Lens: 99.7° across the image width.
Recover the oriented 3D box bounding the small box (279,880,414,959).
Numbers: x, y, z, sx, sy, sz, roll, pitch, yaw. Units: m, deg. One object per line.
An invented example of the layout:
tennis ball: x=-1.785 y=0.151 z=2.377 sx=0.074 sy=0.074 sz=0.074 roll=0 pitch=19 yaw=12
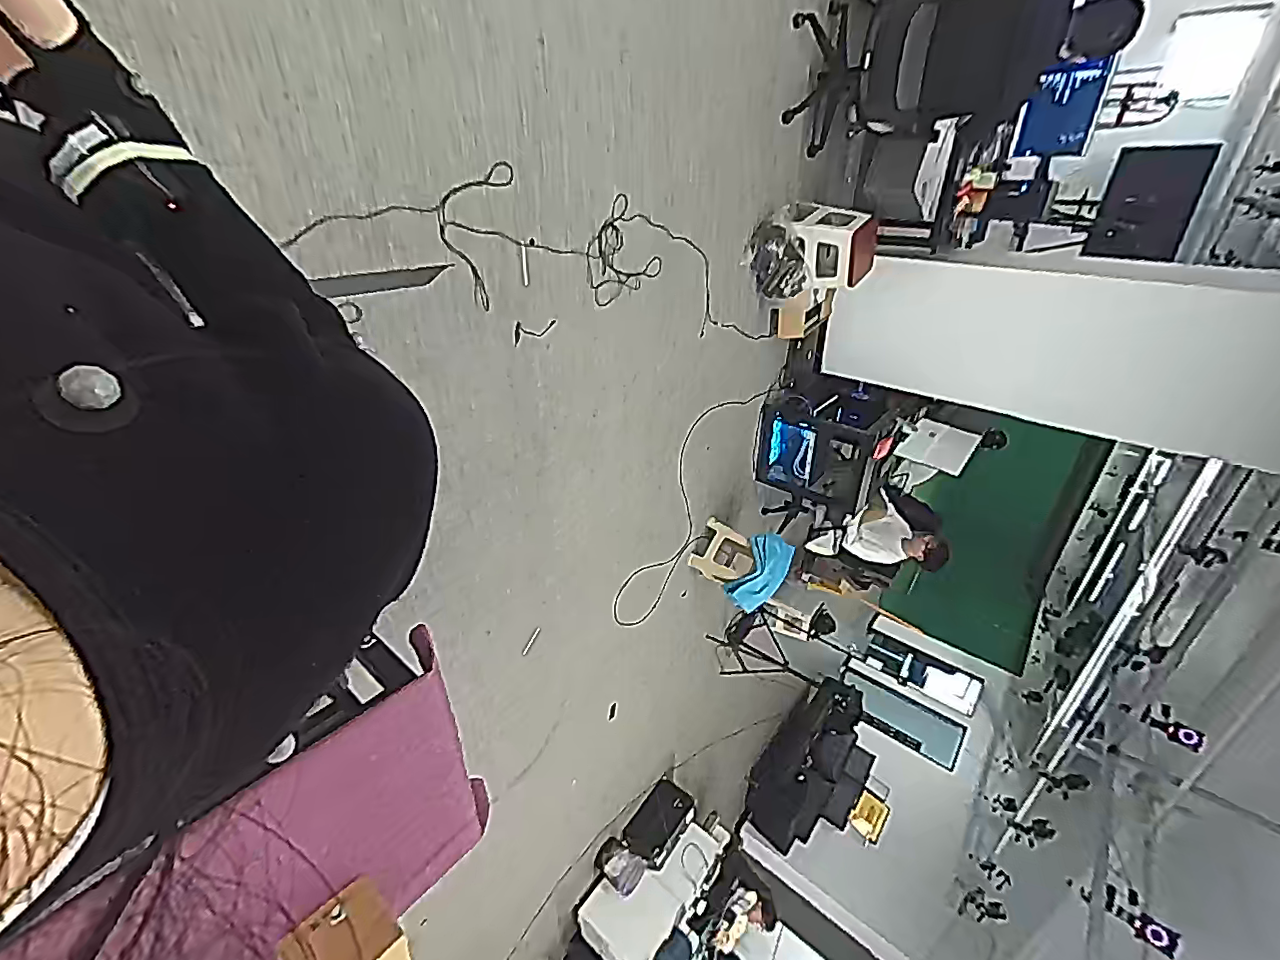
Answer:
small box: x=-0.549 y=0.921 z=1.026 sx=0.168 sy=0.176 sz=0.179 roll=-25 pitch=126 yaw=-47
